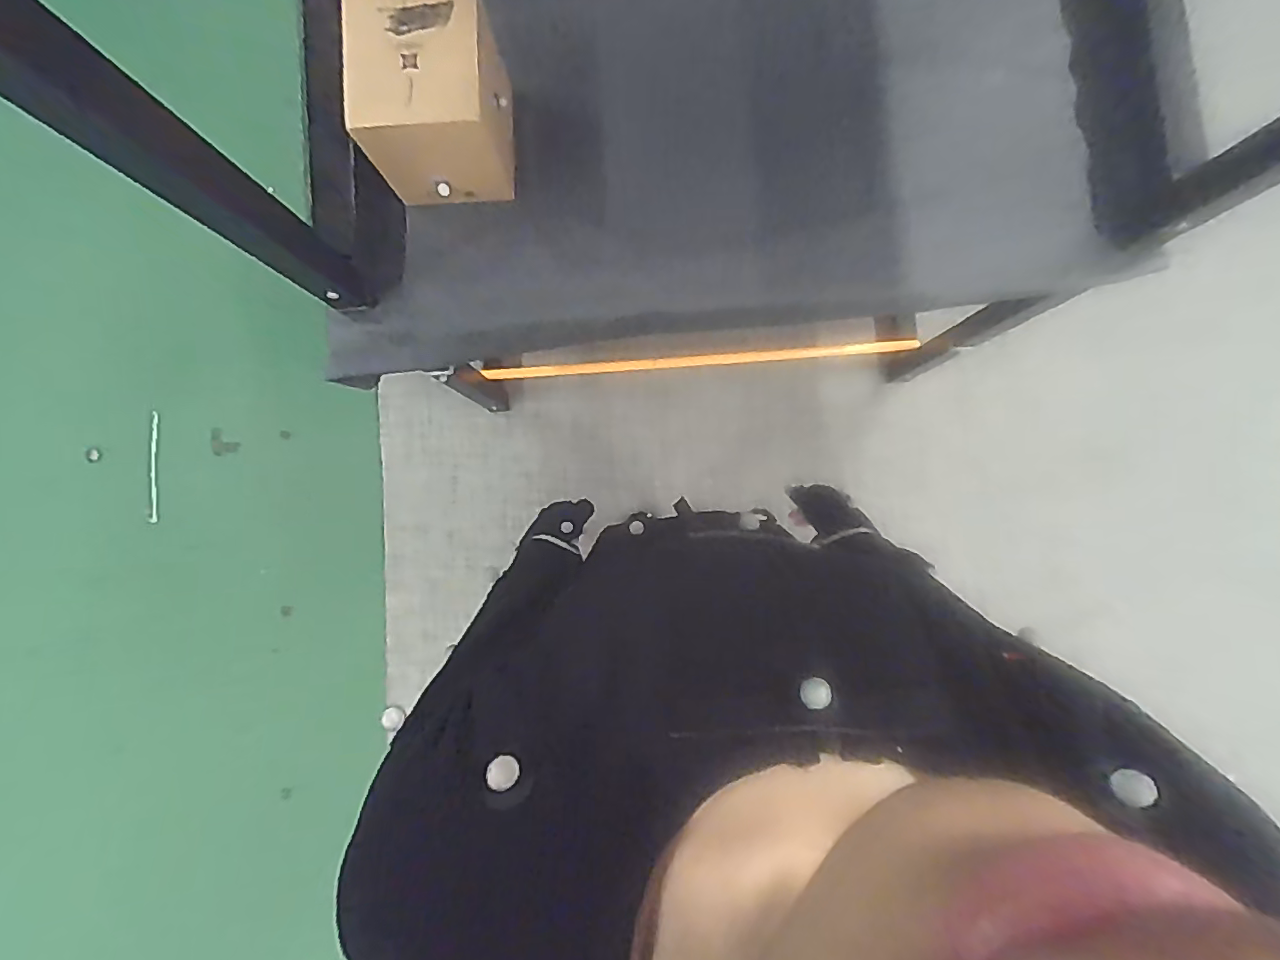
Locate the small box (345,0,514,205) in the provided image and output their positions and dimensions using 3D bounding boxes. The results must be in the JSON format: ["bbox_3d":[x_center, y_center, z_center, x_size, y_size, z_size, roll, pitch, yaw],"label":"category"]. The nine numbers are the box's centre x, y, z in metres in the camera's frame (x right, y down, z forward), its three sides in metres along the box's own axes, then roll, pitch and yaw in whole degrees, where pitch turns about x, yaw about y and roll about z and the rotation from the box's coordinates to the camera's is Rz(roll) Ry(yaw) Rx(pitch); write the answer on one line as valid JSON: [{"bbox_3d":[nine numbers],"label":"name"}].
[{"bbox_3d":[-0.272,-0.503,0.729,0.168,0.176,0.179,-3,87,1],"label":"small box"}]
